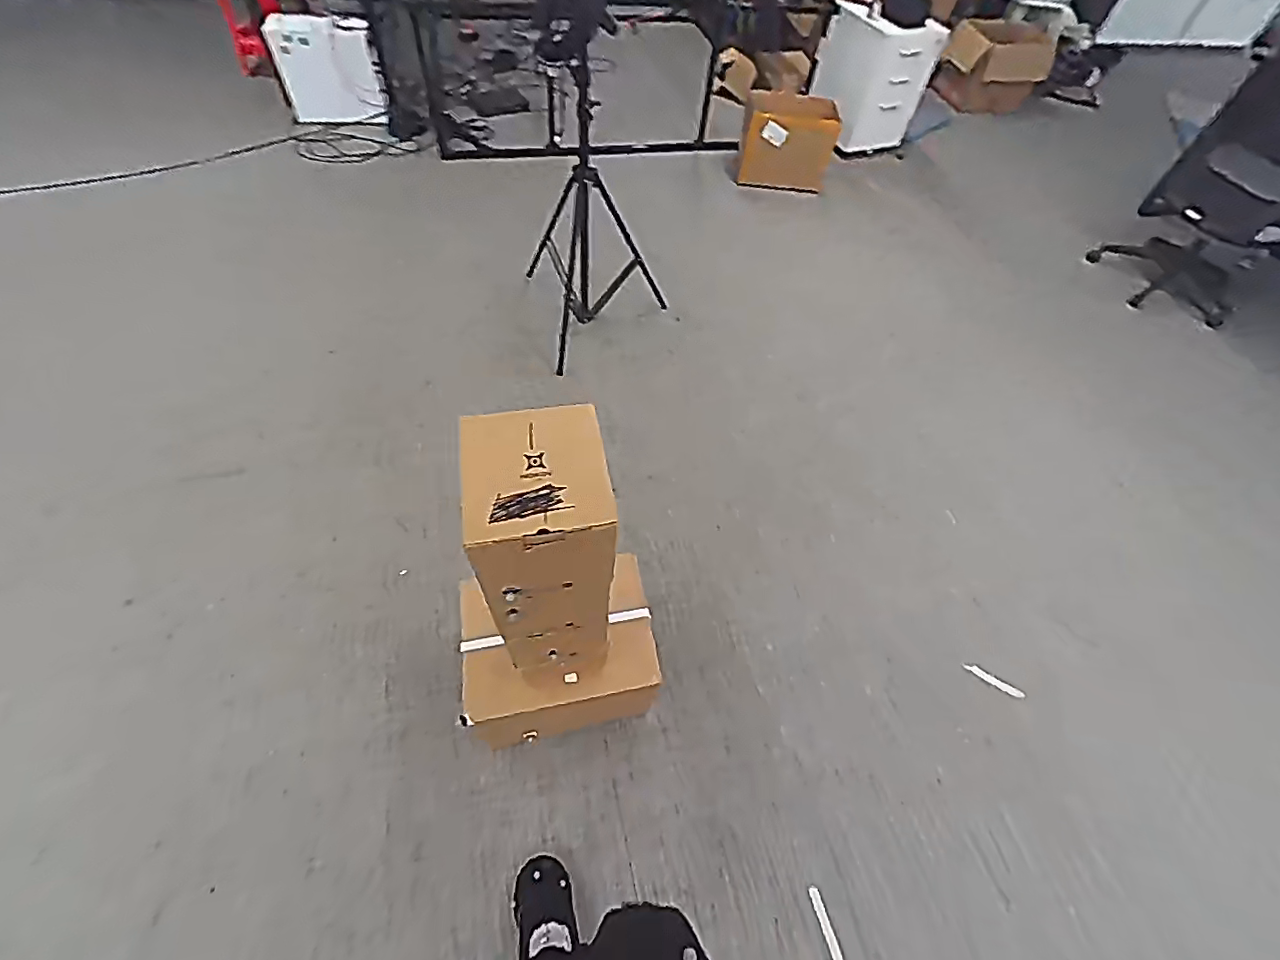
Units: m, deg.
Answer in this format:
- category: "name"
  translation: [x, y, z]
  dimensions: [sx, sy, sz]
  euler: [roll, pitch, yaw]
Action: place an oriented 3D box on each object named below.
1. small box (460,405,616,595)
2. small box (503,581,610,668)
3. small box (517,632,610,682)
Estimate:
- category: "small box"
  translation: [-0.125, 0.033, 0.682]
  dimensions: [0.168, 0.176, 0.179]
  euler: [-8, 57, -11]
- category: "small box"
  translation: [-0.153, 0.211, 0.956]
  dimensions: [0.168, 0.176, 0.179]
  euler: [-10, 59, -12]
- category: "small box"
  translation: [-0.163, 0.294, 1.096]
  dimensions: [0.179, 0.176, 0.168]
  euler: [-10, 59, -13]
